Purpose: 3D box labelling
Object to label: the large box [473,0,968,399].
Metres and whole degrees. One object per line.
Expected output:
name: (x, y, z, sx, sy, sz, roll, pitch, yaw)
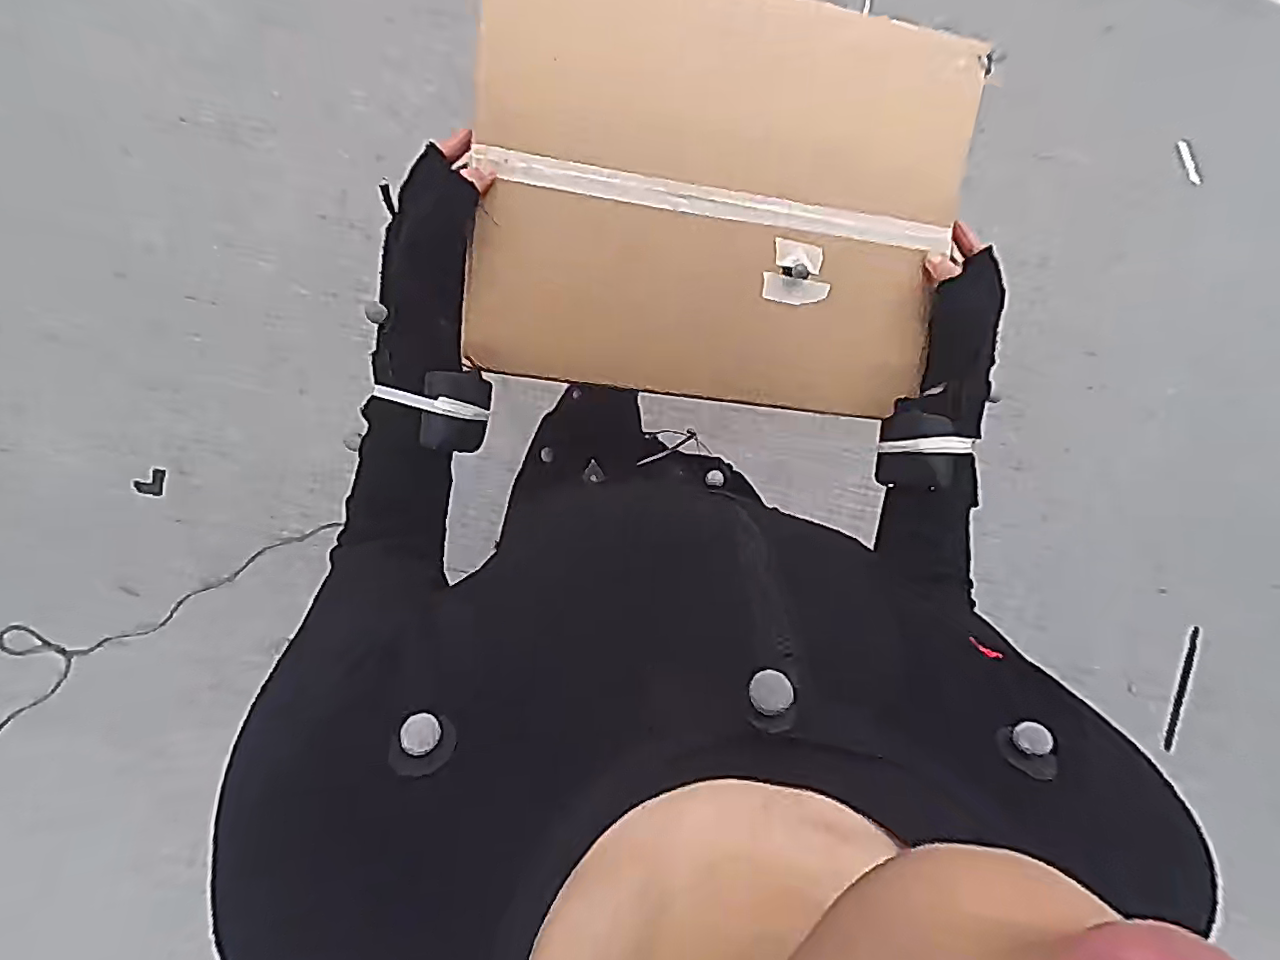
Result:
large box: (0.046, -0.268, 0.597, 0.408, 0.320, 0.320, 5, 102, -9)
